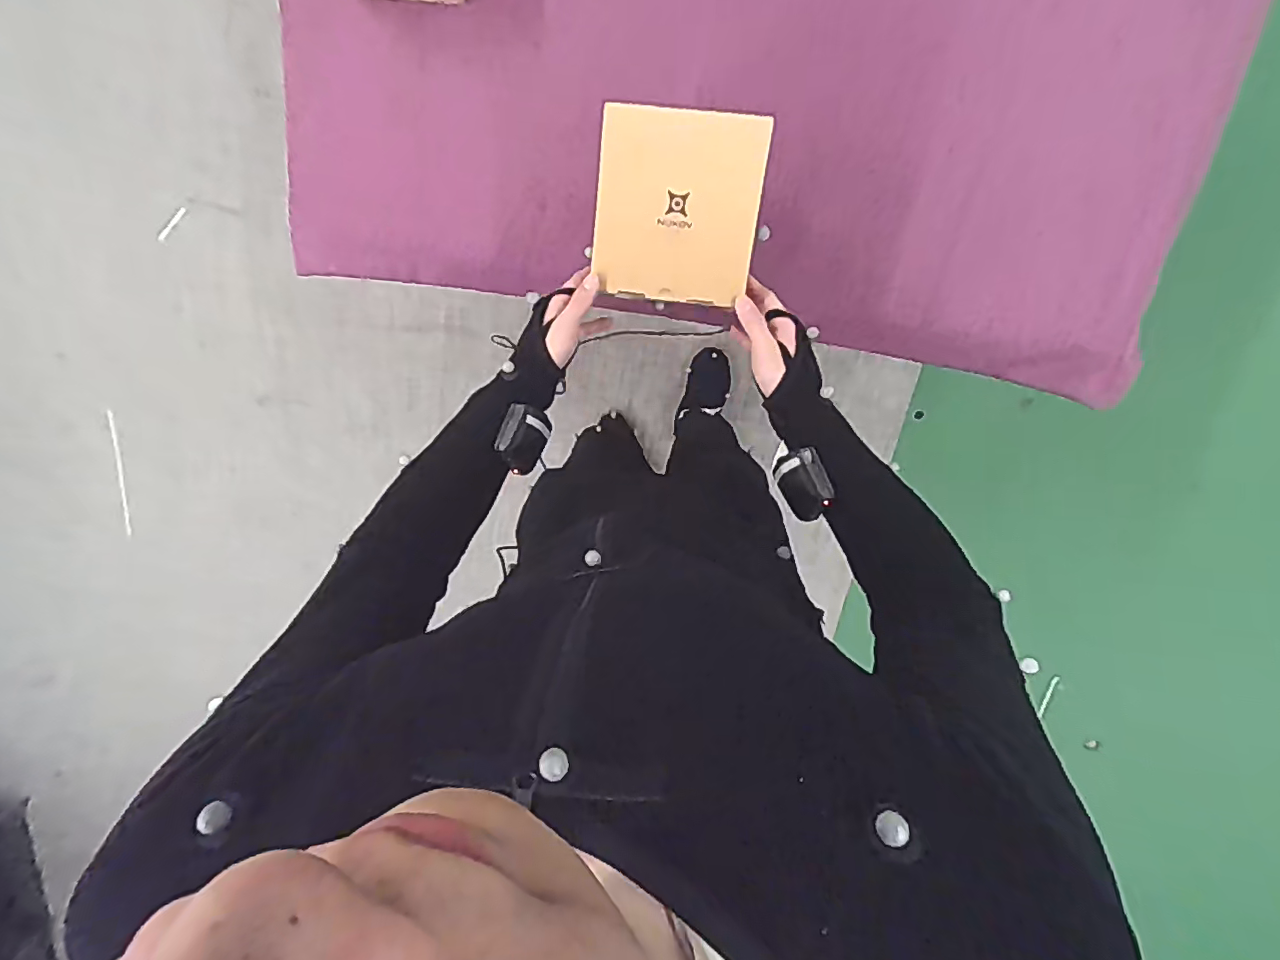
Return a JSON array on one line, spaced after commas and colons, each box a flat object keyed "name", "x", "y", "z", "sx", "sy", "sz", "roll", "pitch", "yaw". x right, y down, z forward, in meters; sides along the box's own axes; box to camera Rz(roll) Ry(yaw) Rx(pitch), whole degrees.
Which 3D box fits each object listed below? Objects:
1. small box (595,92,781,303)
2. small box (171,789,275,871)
[{"name": "small box", "x": 0.050, "y": -0.303, "z": 0.615, "sx": 0.168, "sy": 0.176, "sz": 0.179, "roll": 8, "pitch": 109, "yaw": 3}, {"name": "small box", "x": -1.354, "y": 1.160, "z": 1.768, "sx": 0.179, "sy": 0.176, "sz": 0.168, "roll": -35, "pitch": 99, "yaw": 15}]
